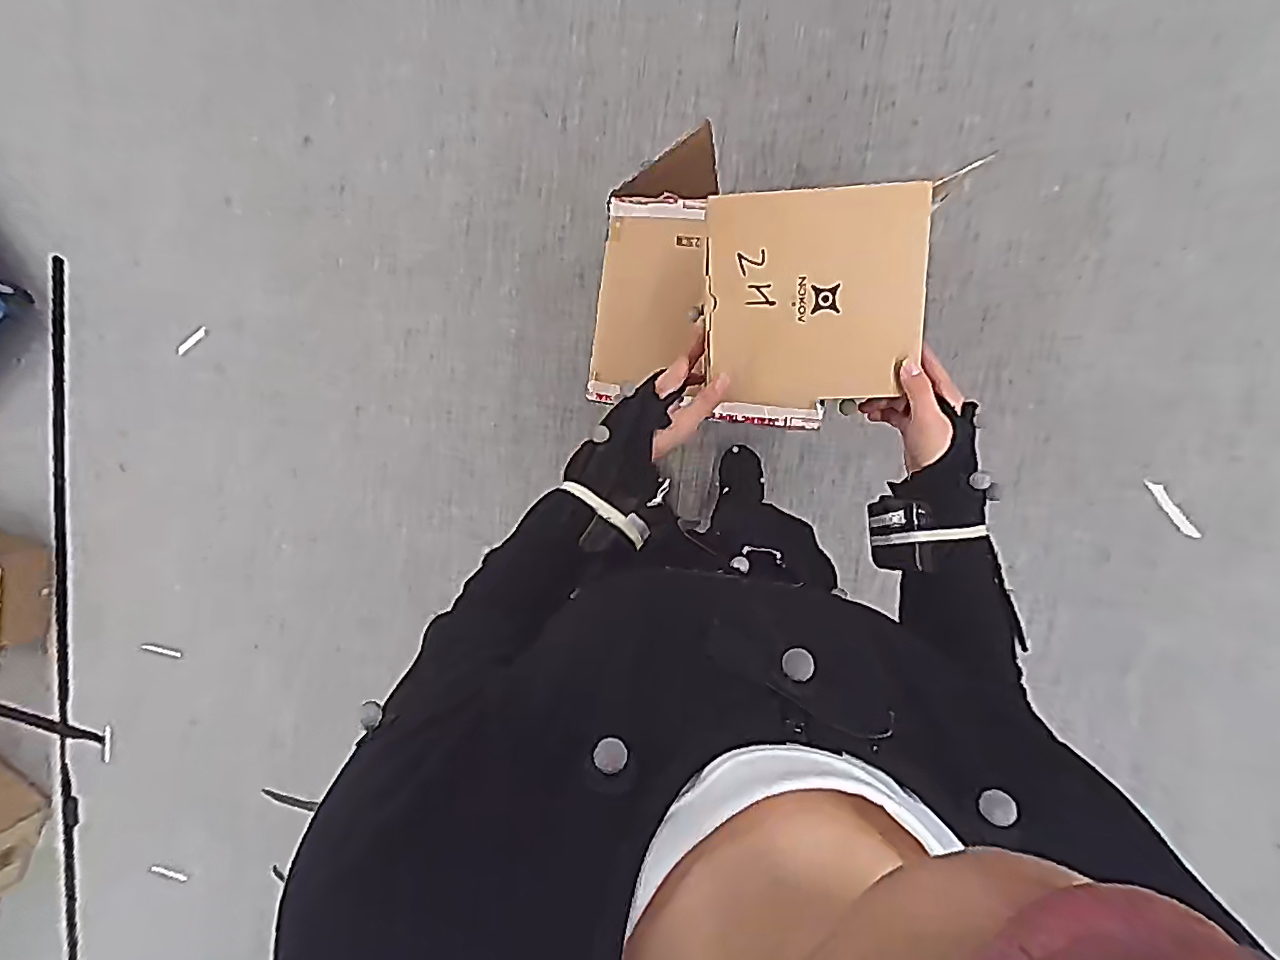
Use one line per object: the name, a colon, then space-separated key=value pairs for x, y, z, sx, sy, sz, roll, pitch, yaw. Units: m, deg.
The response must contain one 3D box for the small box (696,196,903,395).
small box: x=0.149 y=-0.178 z=0.565 sx=0.179 sy=0.176 sz=0.168 roll=2 pitch=96 yaw=7
